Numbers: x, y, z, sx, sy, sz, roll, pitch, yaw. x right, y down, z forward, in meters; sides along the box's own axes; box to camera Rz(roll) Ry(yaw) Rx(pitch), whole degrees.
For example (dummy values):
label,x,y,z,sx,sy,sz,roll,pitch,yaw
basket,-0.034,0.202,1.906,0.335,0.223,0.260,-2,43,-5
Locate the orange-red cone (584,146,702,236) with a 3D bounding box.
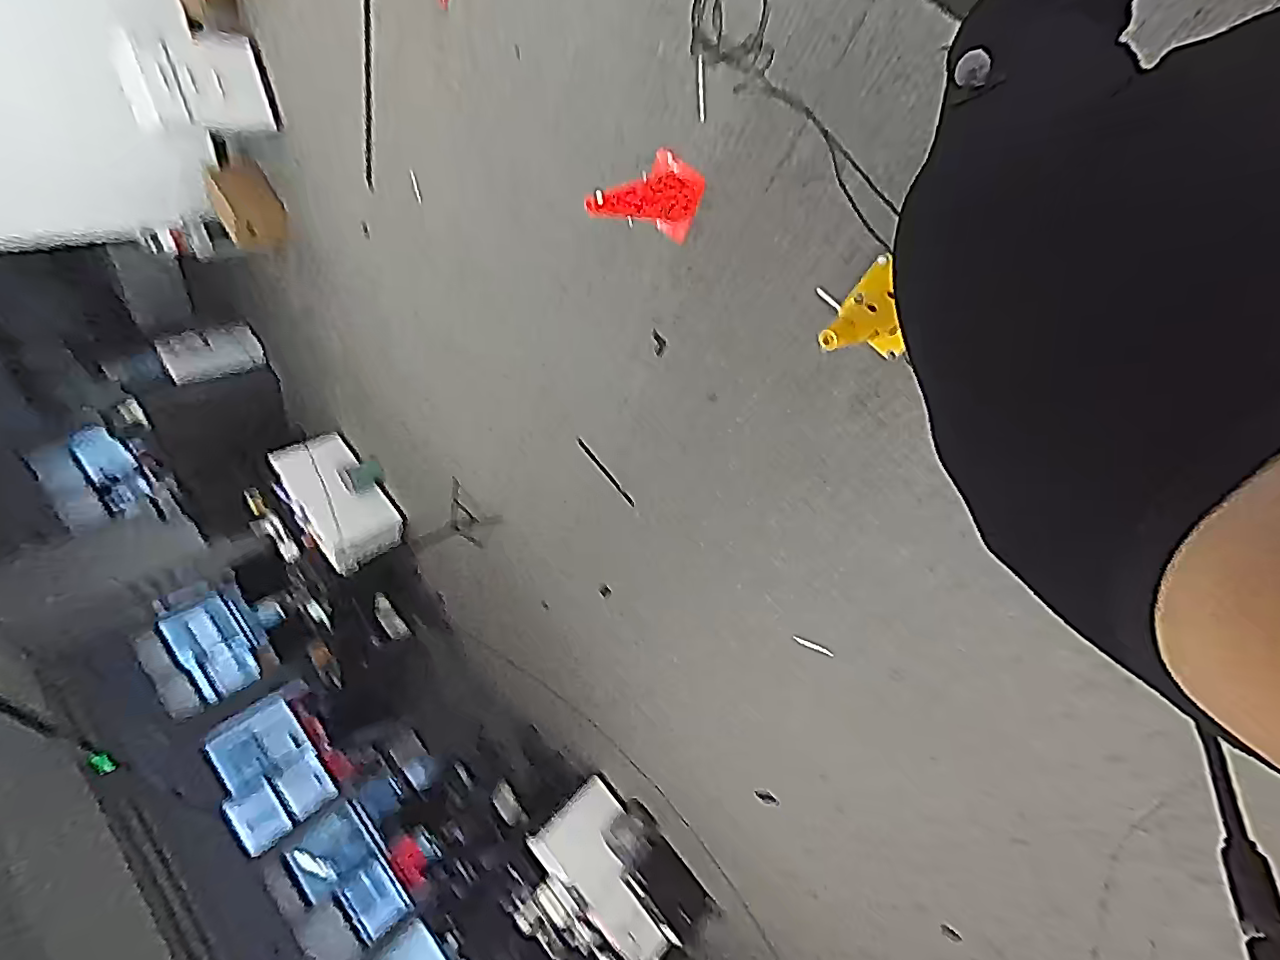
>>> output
label,x,y,z,sx,sy,sz,roll,pitch,yaw
orange-red cone,-0.021,-0.813,1.554,0.199,0.360,0.198,45,140,14
